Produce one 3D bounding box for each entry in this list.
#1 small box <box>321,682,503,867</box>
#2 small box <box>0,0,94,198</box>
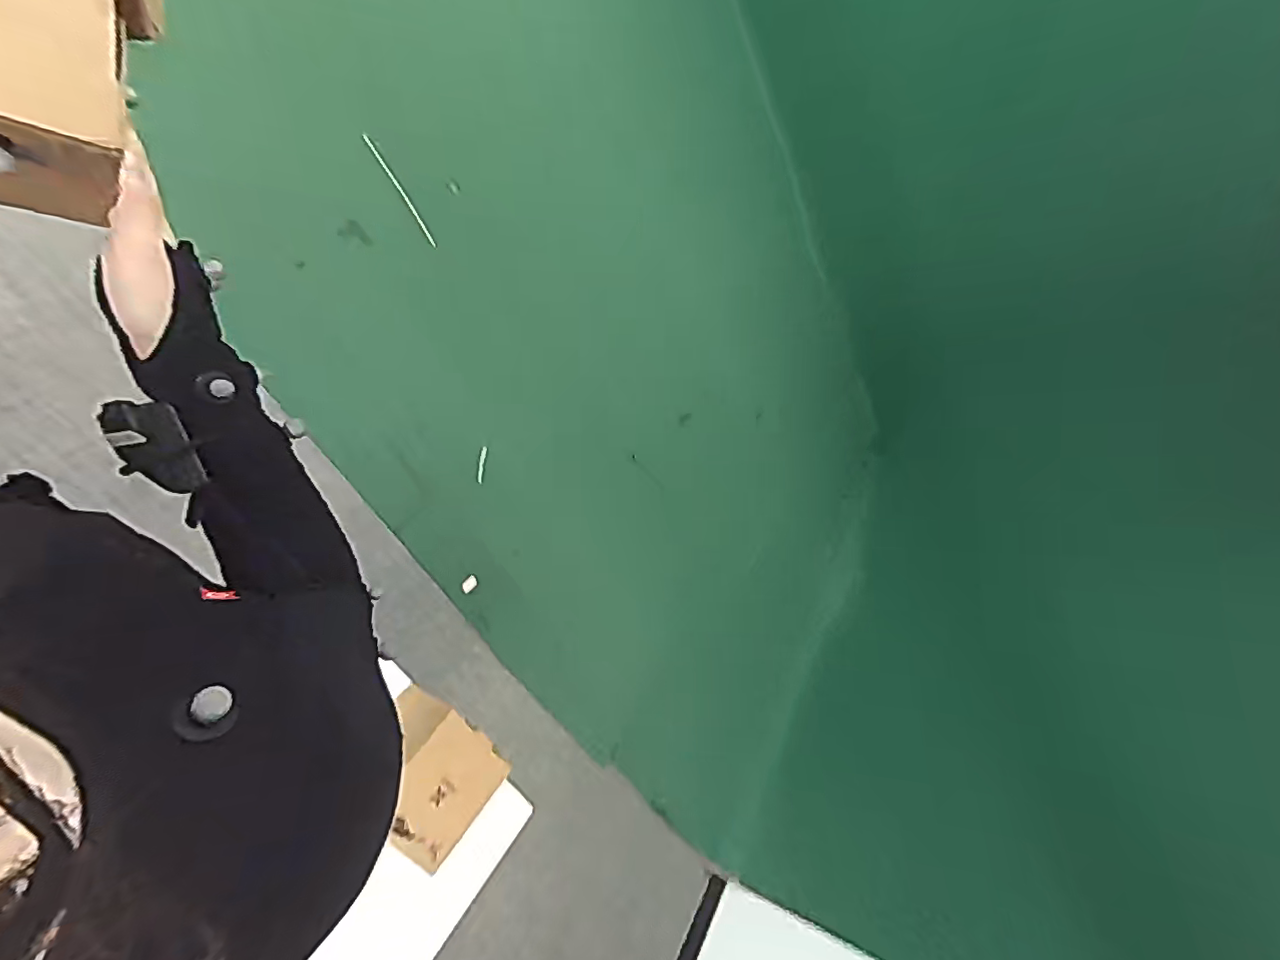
[{"bbox_3d":[-0.362,0.452,0.860,0.179,0.176,0.168,-48,121,-35],"label":"small box"},{"bbox_3d":[-0.359,-0.244,0.229,0.179,0.176,0.168,-3,100,-47],"label":"small box"}]
